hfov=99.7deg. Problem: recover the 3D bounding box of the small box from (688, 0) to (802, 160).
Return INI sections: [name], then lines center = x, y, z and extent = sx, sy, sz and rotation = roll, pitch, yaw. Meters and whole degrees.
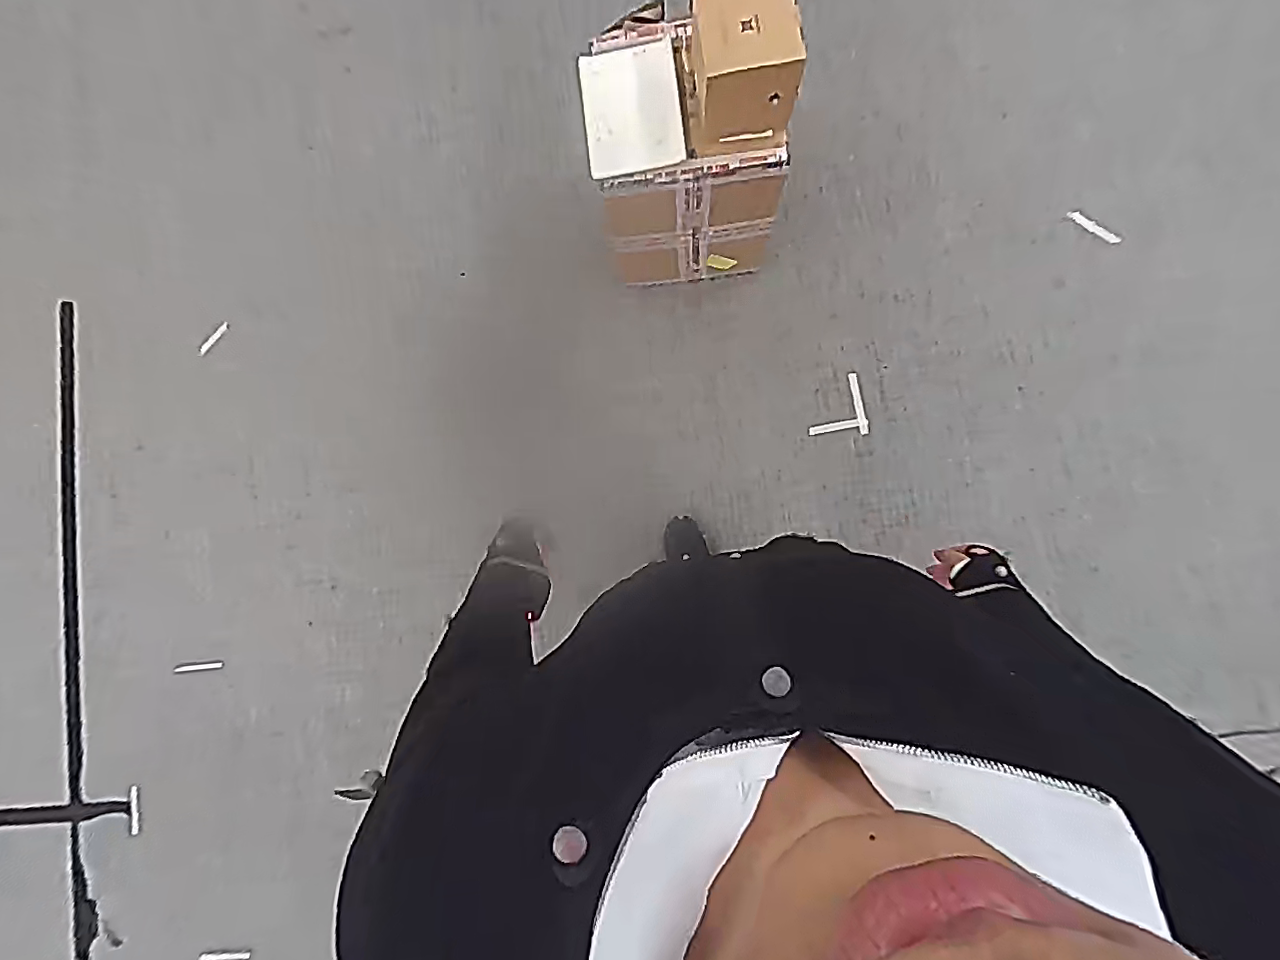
[small box]
center = 0.190, -0.747, 1.026
extent = 0.179, 0.176, 0.168
rotation = -9, 85, 4
